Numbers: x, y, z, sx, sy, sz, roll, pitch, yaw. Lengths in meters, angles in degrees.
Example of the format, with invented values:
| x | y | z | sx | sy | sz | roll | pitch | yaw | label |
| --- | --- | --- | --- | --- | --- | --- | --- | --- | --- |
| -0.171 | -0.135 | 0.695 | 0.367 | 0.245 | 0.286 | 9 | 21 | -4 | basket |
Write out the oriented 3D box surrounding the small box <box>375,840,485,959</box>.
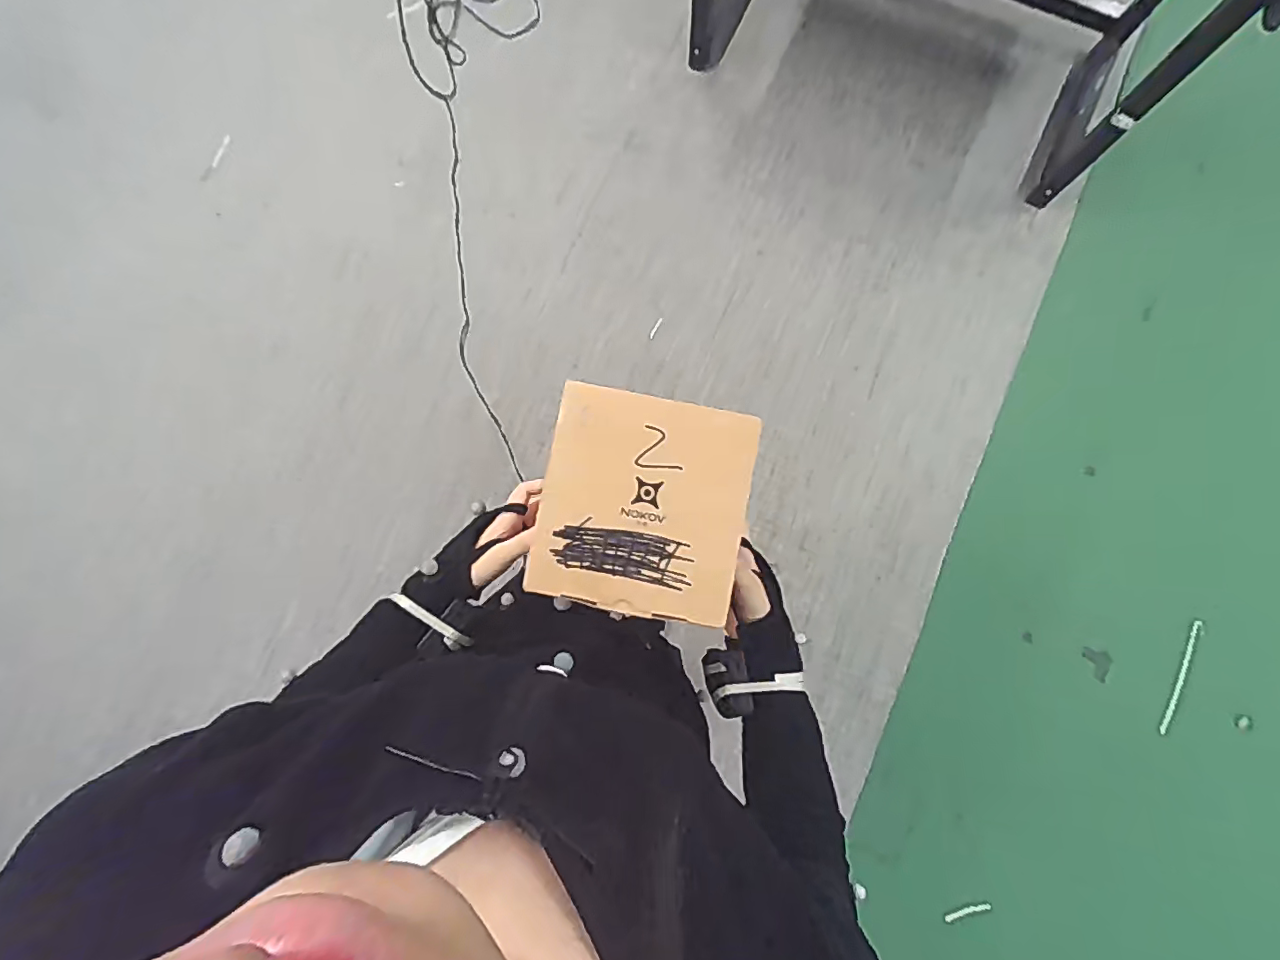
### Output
| x | y | z | sx | sy | sz | roll | pitch | yaw | label |
| --- | --- | --- | --- | --- | --- | --- | --- | --- | --- |
| -0.509 | 1.050 | 1.339 | 0.168 | 0.176 | 0.179 | 25 | 84 | 4 | small box |
